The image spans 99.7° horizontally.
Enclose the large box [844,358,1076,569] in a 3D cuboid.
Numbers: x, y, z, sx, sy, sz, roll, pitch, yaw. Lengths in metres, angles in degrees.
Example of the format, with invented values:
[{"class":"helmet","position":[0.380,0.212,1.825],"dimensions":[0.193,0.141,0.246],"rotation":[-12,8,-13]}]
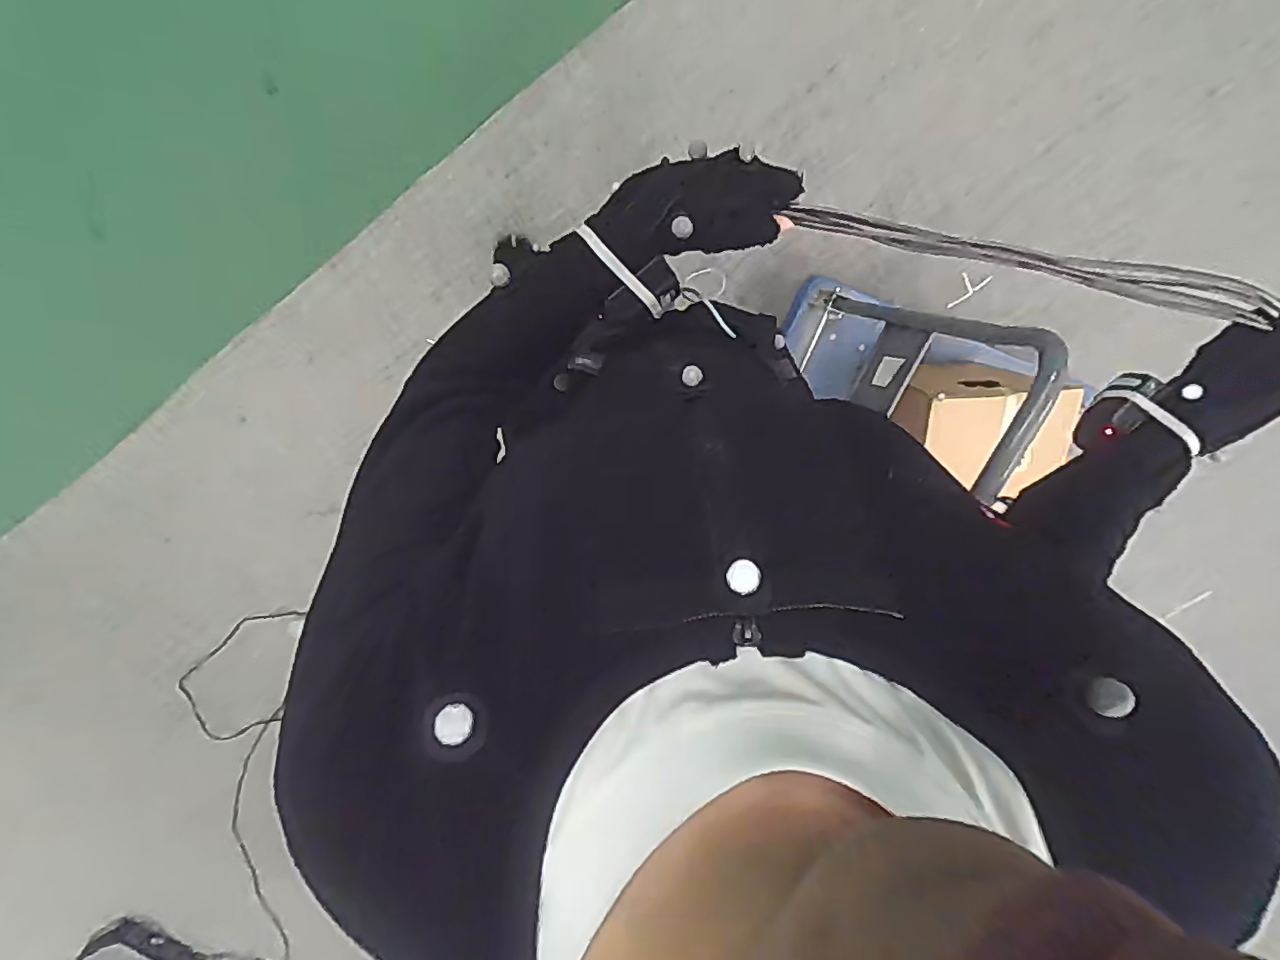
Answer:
[{"class":"large box","position":[0.694,-0.053,1.249],"dimensions":[0.320,0.320,0.408],"rotation":[-4,111,-5]}]
